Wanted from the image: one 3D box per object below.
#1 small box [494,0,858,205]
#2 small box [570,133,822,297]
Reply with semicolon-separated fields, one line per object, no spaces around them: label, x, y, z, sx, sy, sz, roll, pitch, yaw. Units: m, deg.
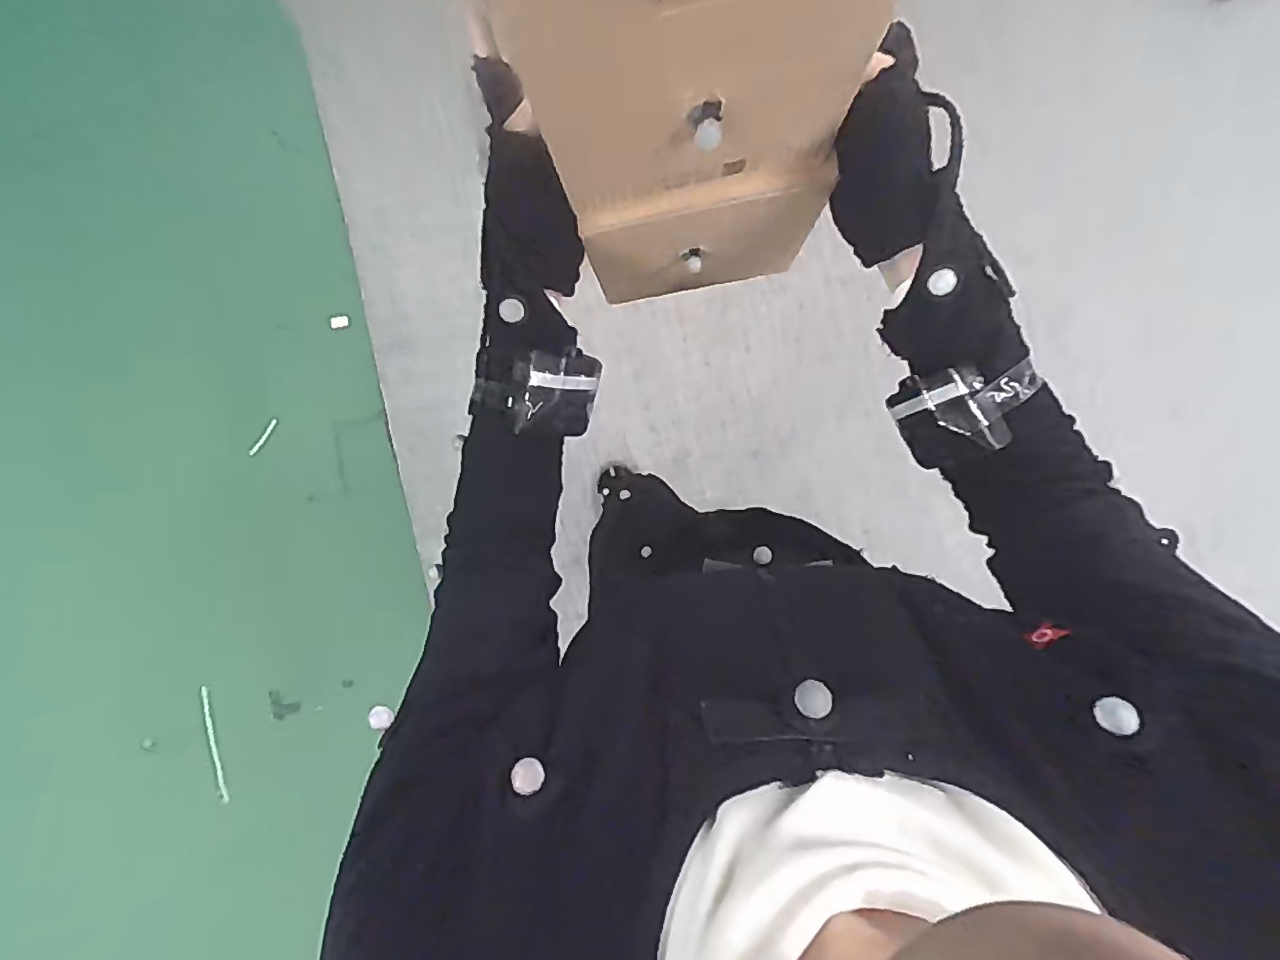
small box;0.013;-0.279;0.296;0.168;0.176;0.179;-13;90;6
small box;0.035;-0.271;0.455;0.179;0.176;0.168;-9;90;5
